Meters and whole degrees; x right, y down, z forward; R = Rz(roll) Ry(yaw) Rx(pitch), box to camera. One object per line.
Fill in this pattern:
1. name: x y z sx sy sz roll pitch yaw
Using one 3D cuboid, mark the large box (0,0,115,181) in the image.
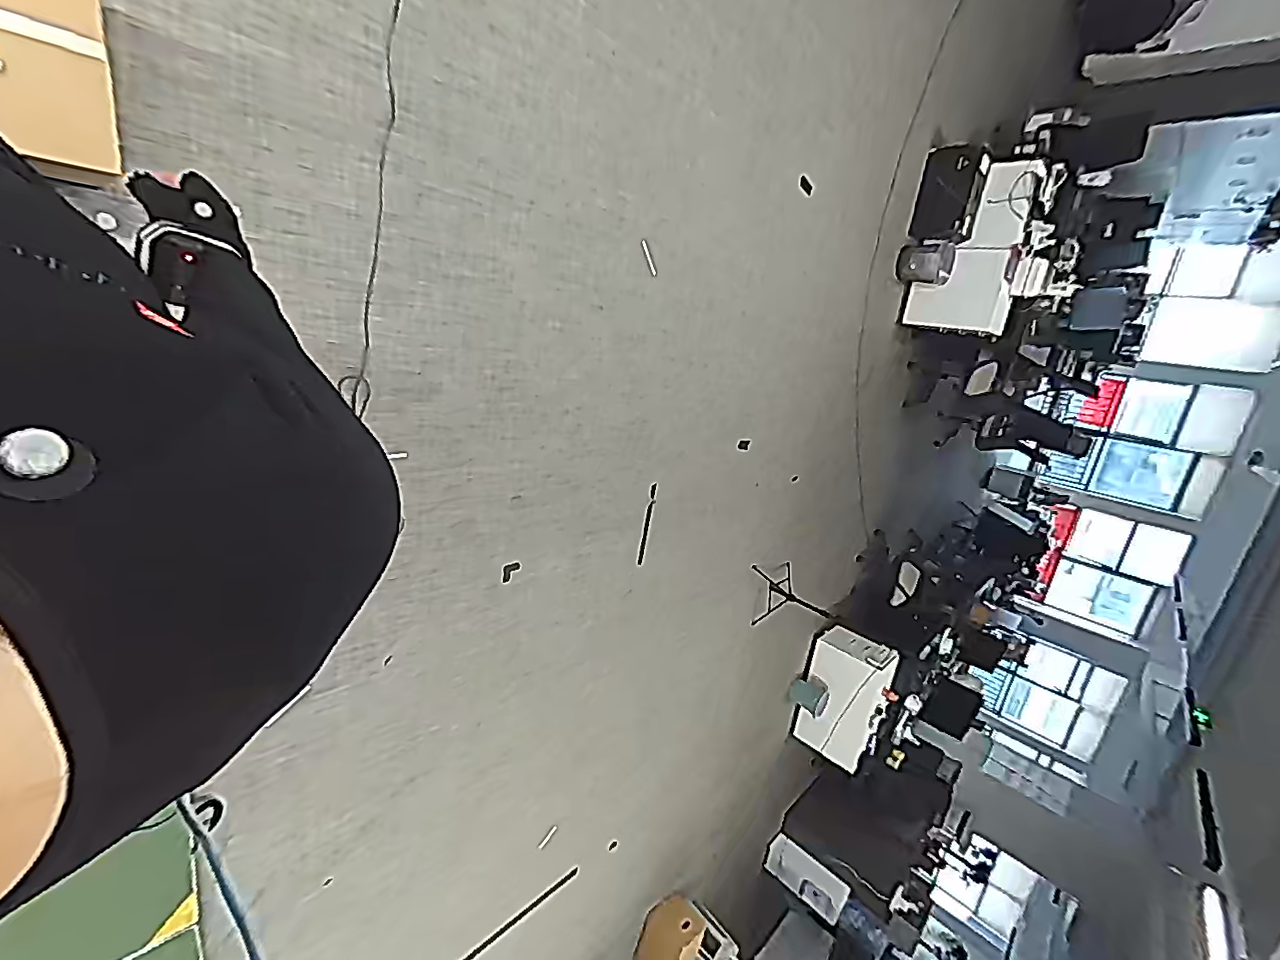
1. large box: -1.018 -0.627 0.721 0.408 0.320 0.320 -11 115 -47
